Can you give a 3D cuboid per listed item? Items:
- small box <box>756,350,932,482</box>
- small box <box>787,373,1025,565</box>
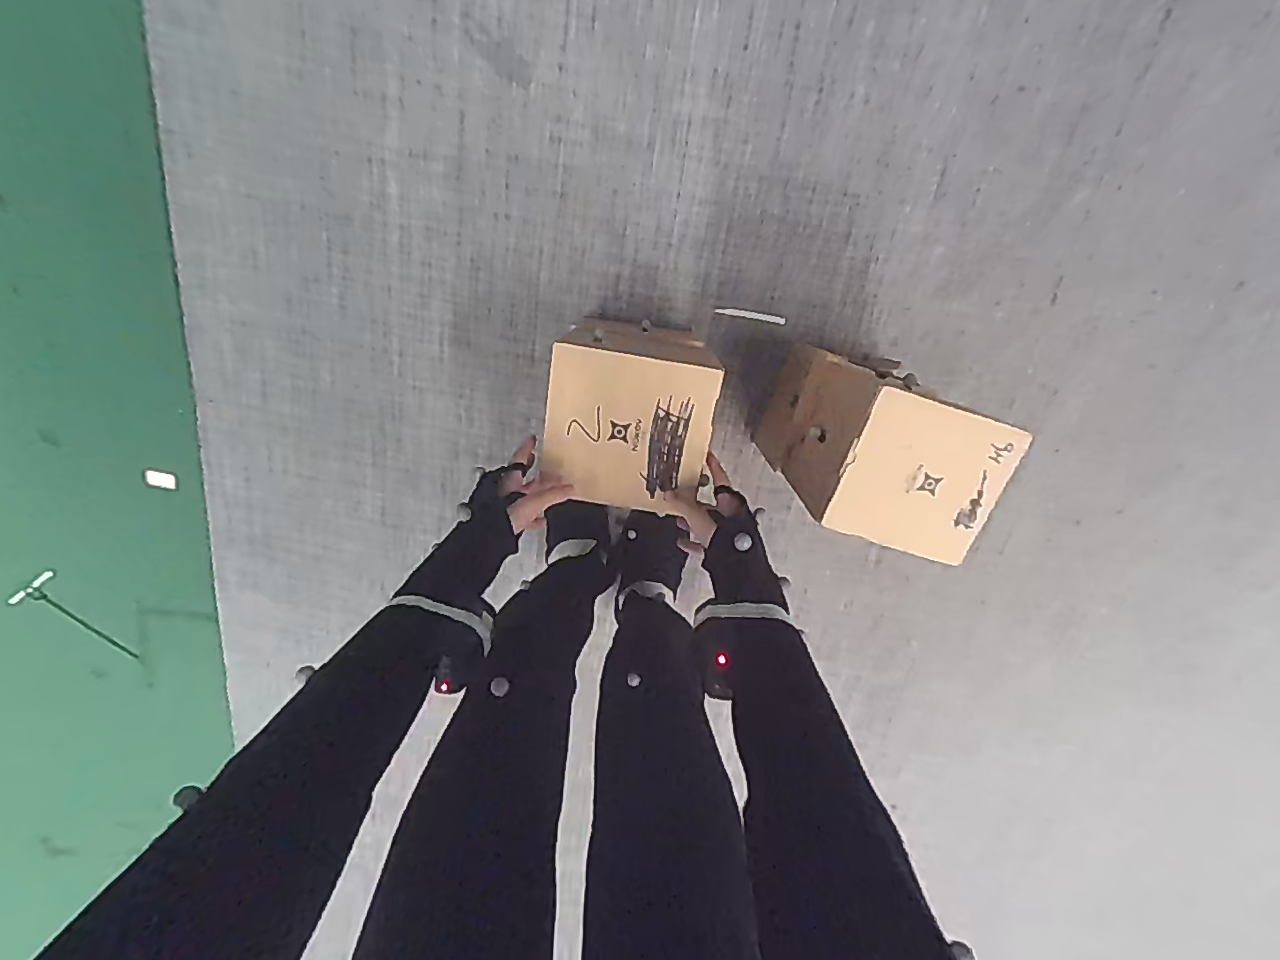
[{"bbox_3d":[0.288,-0.085,0.813,0.168,0.176,0.179,17,109,-5],"label":"small box"},{"bbox_3d":[0.300,-0.025,0.660,0.179,0.176,0.168,17,109,-4],"label":"small box"}]
